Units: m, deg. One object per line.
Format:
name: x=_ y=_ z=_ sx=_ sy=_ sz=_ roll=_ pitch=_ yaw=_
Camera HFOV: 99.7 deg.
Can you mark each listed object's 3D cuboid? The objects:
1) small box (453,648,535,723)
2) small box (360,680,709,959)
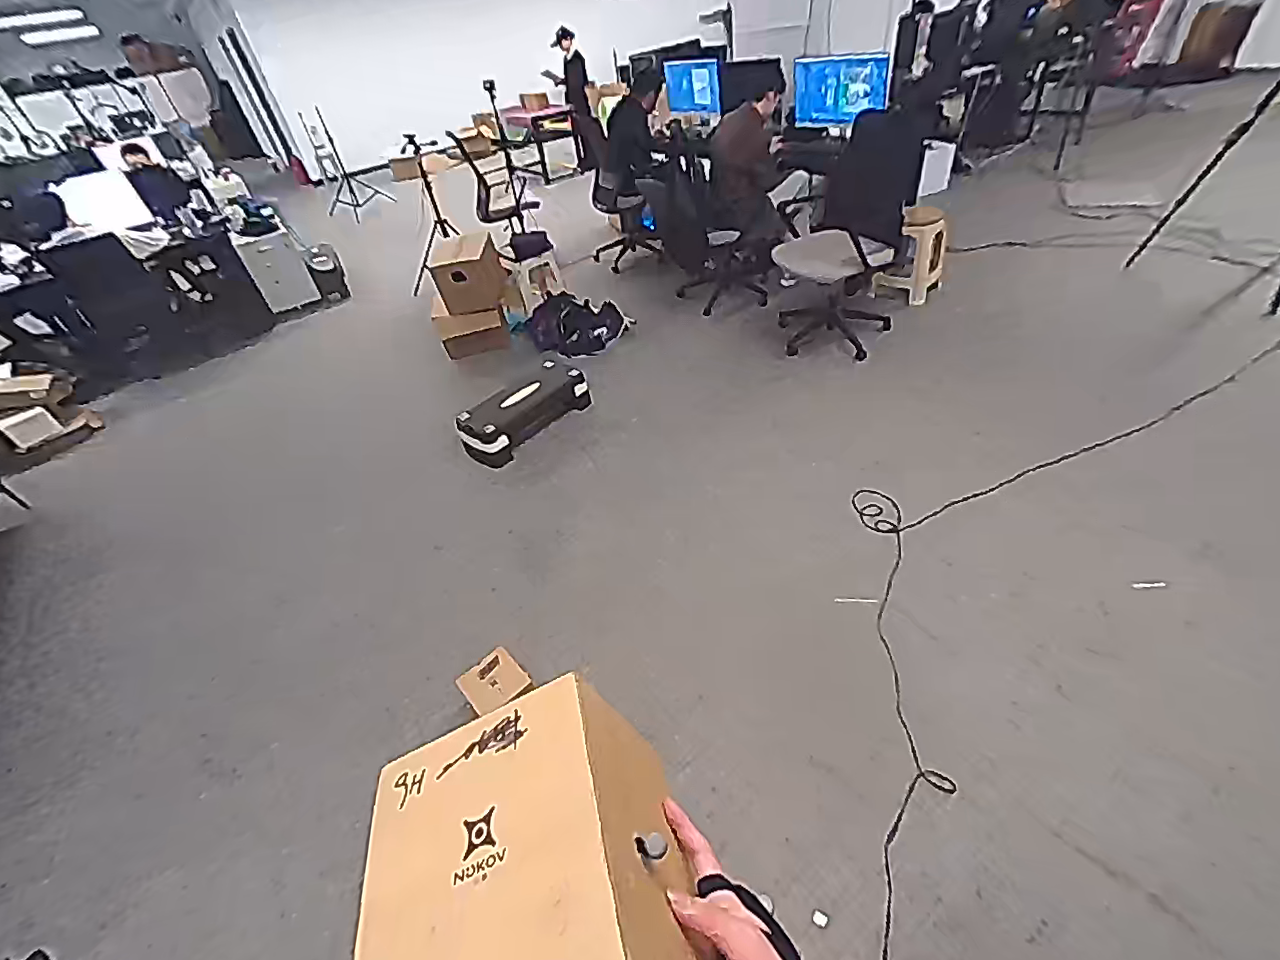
small box: x=-0.427 y=0.653 z=1.625 sx=0.168 sy=0.176 sz=0.179 roll=-36 pitch=48 yaw=-26
small box: x=-0.066 y=0.284 z=0.382 sx=0.168 sy=0.176 sz=0.179 roll=-26 pitch=40 yaw=2
